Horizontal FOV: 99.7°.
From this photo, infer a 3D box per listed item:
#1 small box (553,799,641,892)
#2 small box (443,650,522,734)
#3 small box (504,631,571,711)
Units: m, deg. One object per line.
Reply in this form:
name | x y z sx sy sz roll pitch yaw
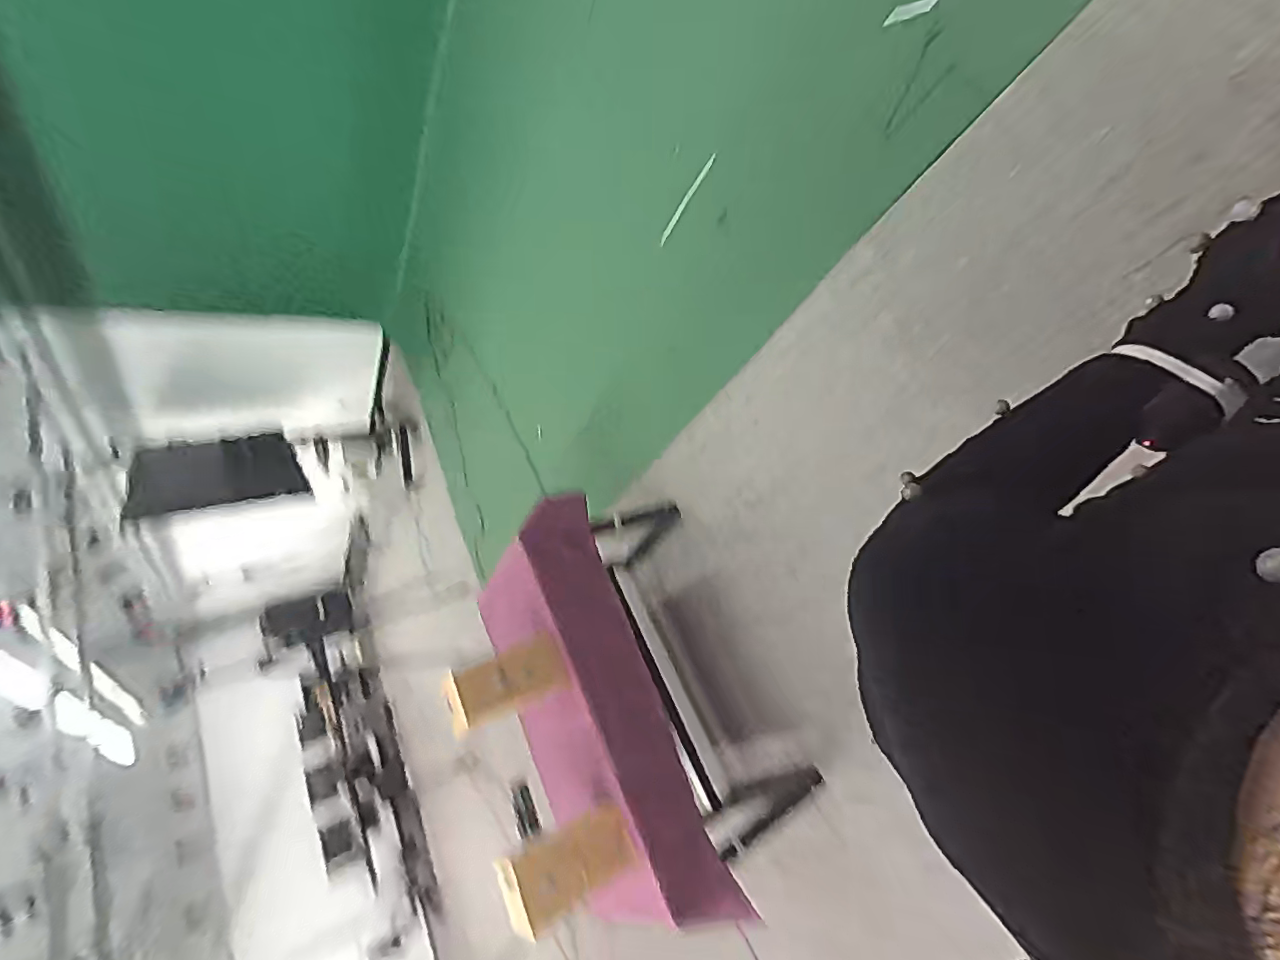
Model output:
small box | -0.125 1.053 1.566 0.179 0.176 0.168 -48 61 46
small box | -0.477 0.641 1.643 0.179 0.176 0.168 -51 60 45
small box | -0.344 0.611 1.736 0.168 0.176 0.179 -47 62 46
